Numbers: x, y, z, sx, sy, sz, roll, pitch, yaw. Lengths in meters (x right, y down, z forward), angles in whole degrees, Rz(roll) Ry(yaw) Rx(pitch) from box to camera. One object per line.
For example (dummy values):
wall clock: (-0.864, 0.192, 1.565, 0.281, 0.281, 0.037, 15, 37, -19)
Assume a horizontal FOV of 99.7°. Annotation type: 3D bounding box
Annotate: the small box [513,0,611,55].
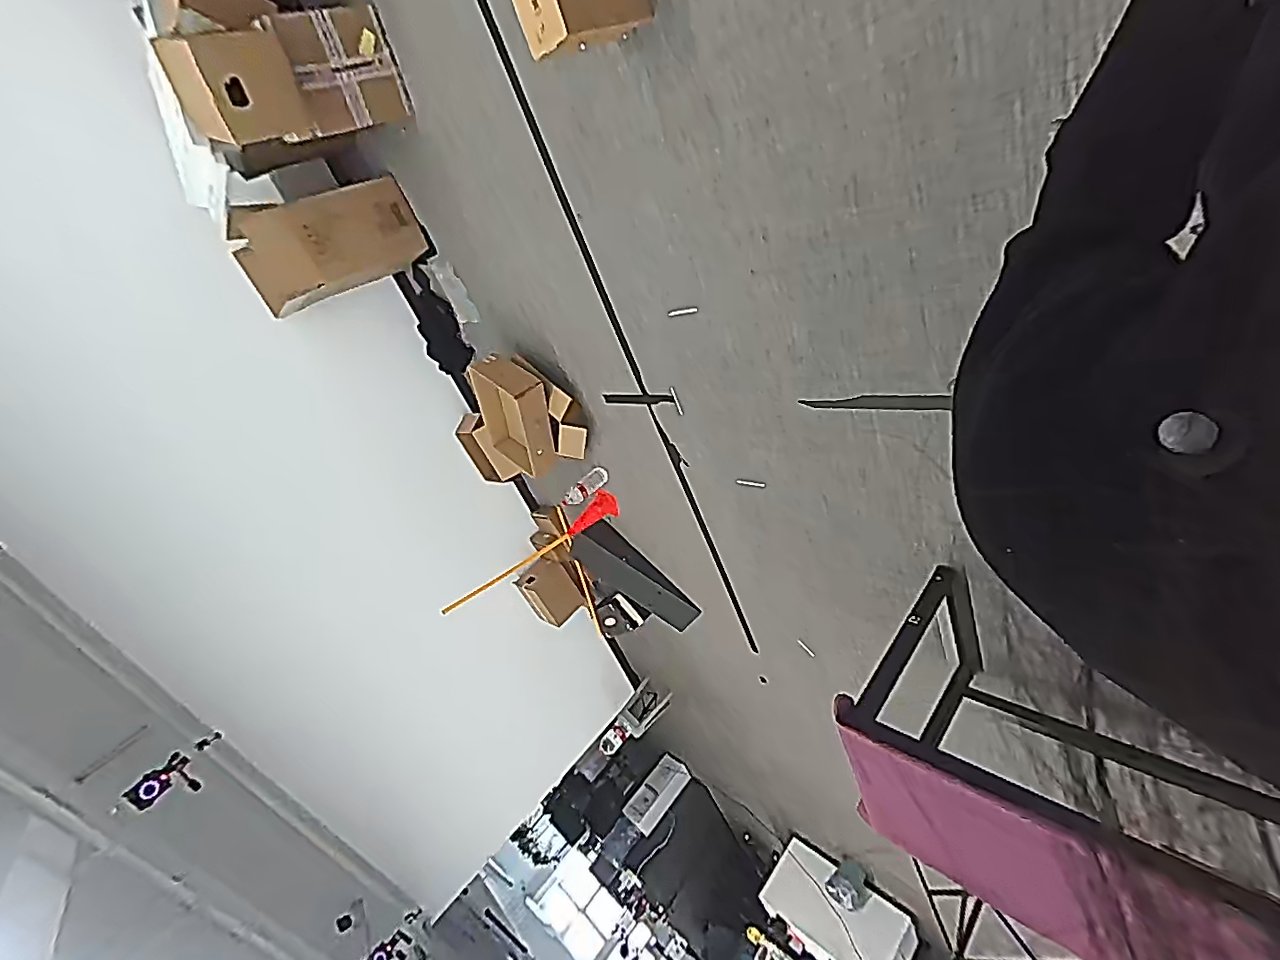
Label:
small box: (-0.205, -1.240, 1.390, 0.168, 0.176, 0.179, 15, 137, 47)
